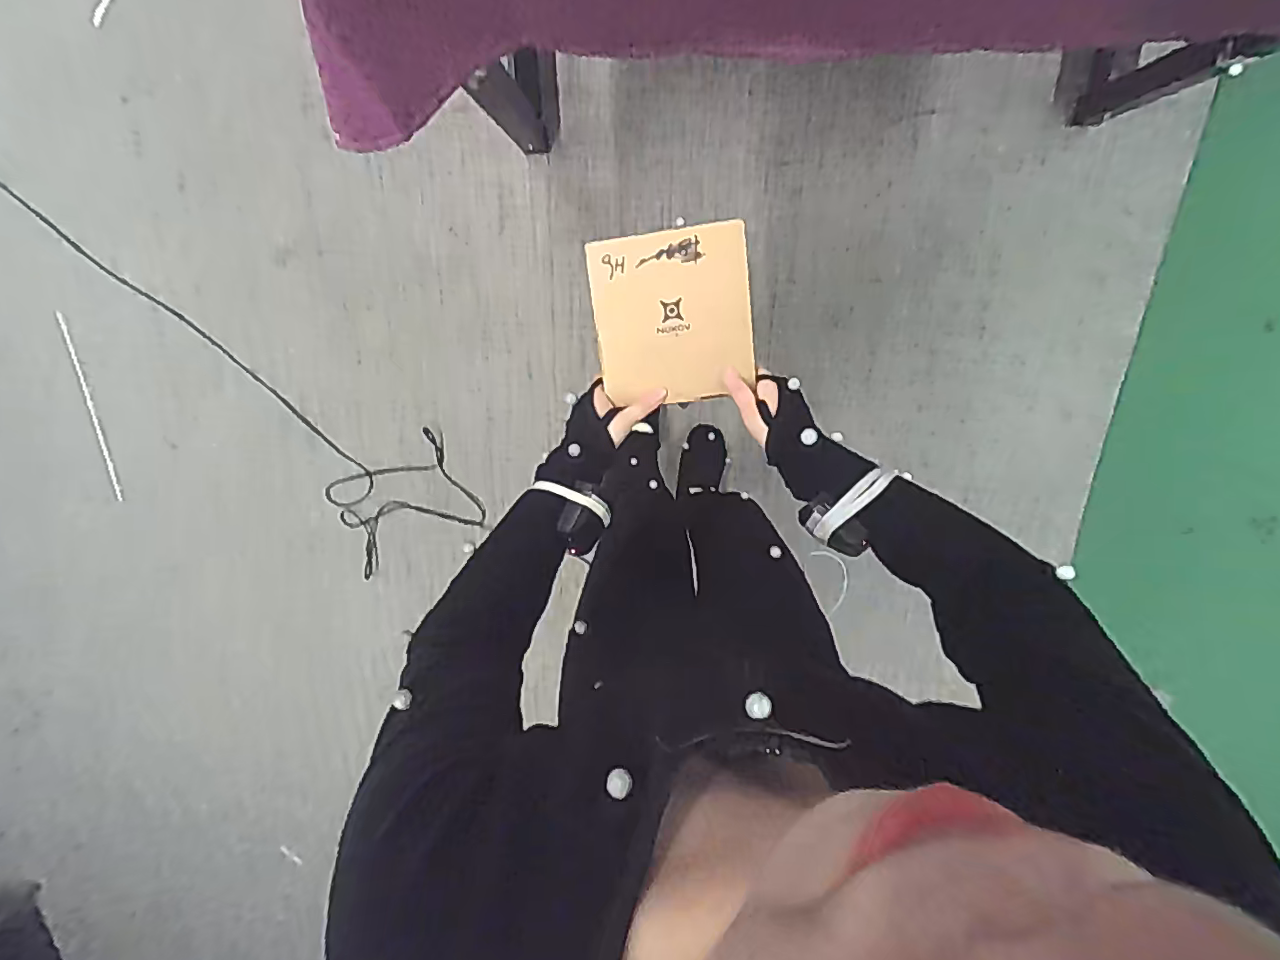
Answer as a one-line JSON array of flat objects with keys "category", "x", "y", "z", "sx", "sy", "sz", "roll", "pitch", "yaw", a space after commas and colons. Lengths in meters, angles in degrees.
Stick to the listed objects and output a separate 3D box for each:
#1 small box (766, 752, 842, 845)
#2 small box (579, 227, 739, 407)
[{"category": "small box", "x": 0.467, "y": 0.920, "z": 1.573, "sx": 0.179, "sy": 0.176, "sz": 0.168, "roll": 1, "pitch": 109, "yaw": 3}, {"category": "small box", "x": 0.034, "y": -0.192, "z": 0.660, "sx": 0.168, "sy": 0.176, "sz": 0.179, "roll": -4, "pitch": 104, "yaw": 9}]
